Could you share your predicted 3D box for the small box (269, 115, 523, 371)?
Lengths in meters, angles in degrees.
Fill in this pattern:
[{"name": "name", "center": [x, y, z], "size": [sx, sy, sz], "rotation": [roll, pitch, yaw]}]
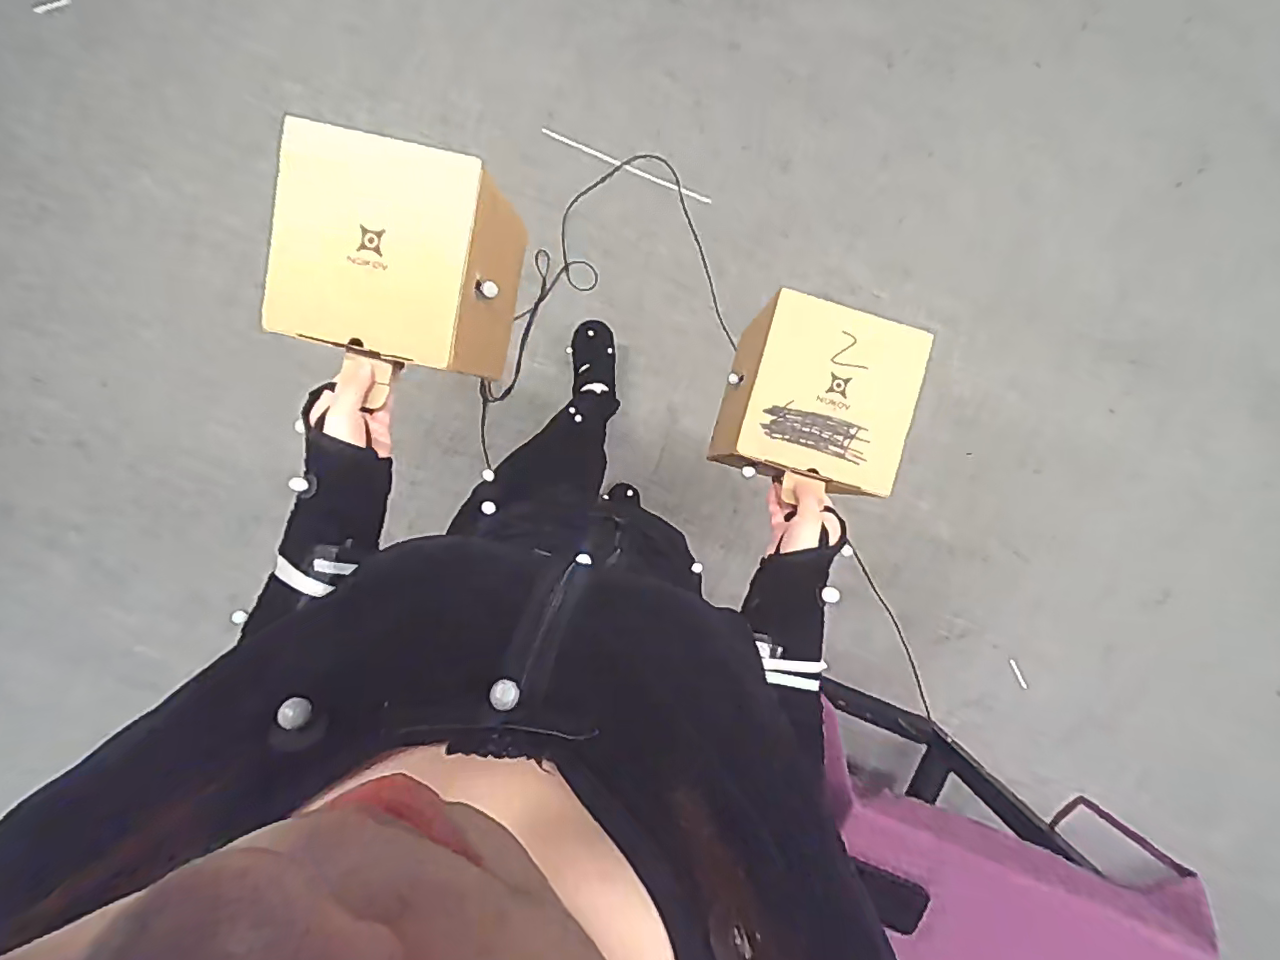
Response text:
[{"name": "small box", "center": [-0.224, -0.214, 0.539], "size": [0.168, 0.176, 0.179], "rotation": [13, 99, 0]}]
